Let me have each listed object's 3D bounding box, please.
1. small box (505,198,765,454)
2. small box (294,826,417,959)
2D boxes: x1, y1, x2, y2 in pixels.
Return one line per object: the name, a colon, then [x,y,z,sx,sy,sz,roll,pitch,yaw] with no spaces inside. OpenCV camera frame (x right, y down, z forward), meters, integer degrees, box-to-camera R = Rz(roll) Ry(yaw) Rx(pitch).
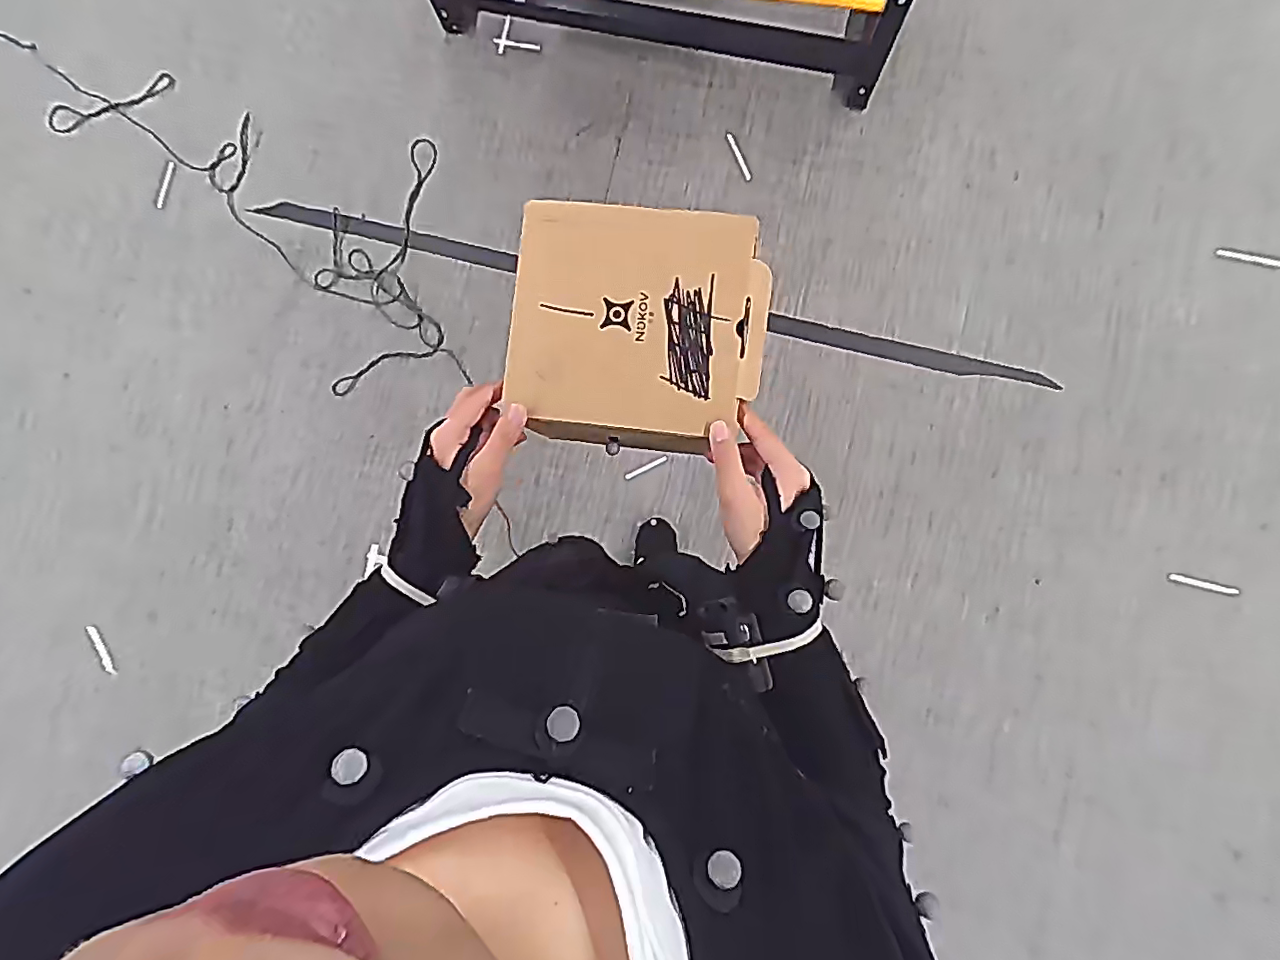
small box: [0.000,-0.116,0.473,0.179,0.176,0.168,6,89,4]
small box: [-0.629,0.930,1.216,0.168,0.176,0.179,11,87,4]
